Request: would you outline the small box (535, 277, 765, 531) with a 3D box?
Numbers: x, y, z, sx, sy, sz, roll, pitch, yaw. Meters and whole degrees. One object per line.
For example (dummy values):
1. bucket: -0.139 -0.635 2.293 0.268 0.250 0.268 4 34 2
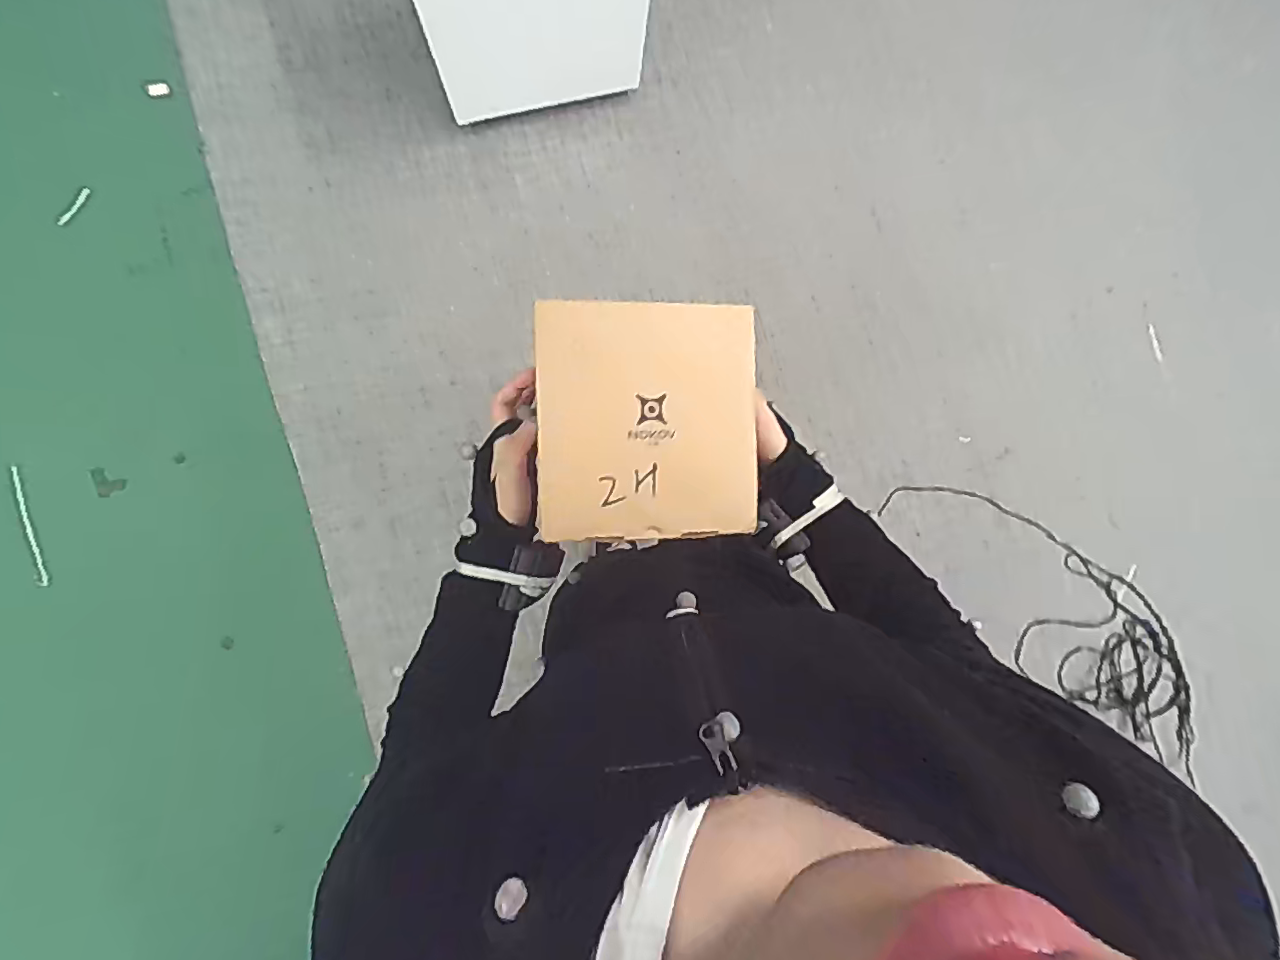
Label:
1. small box: -0.004 -0.052 0.460 0.168 0.176 0.179 0 92 -10
